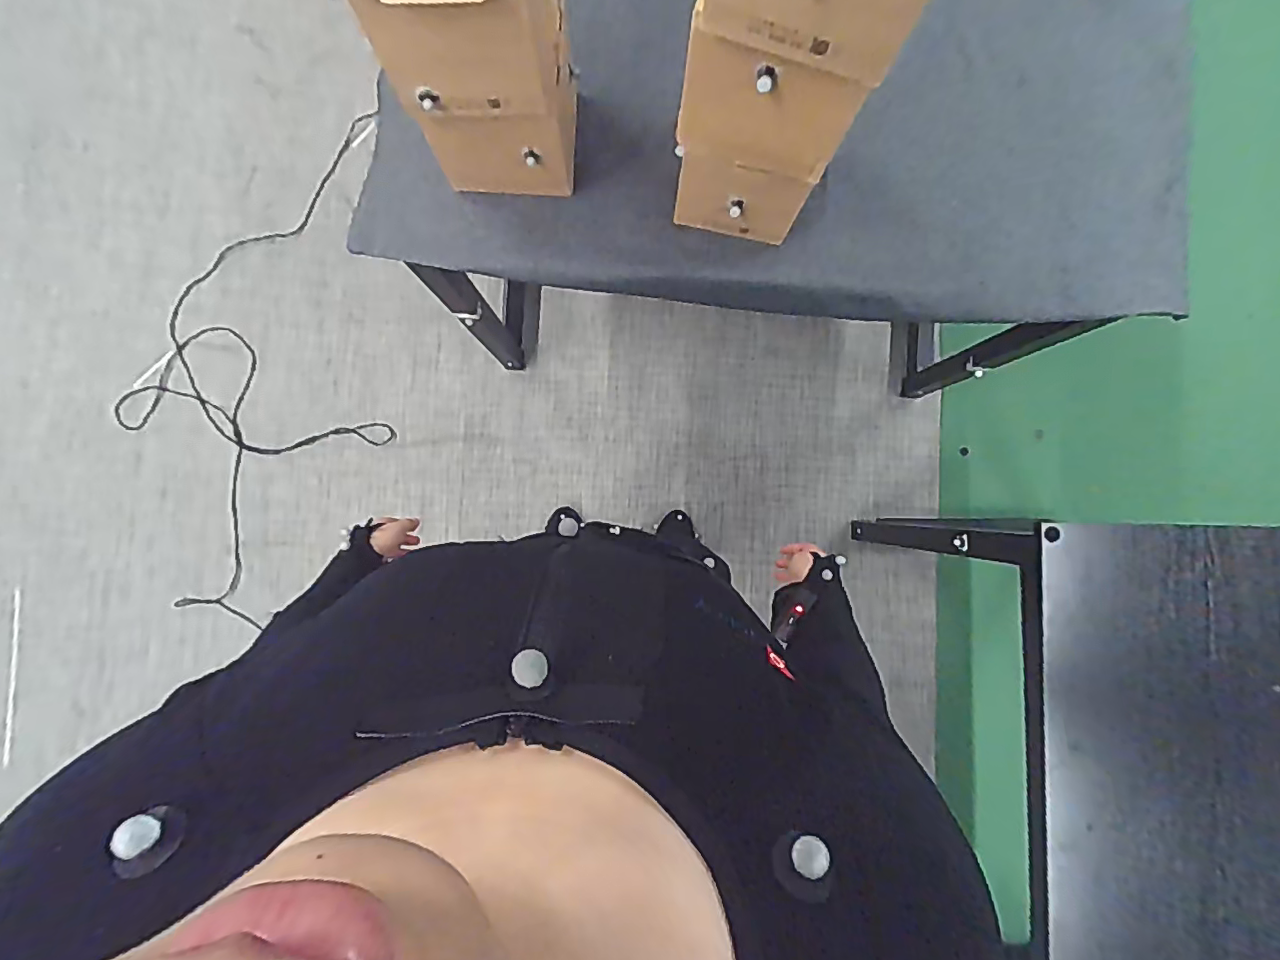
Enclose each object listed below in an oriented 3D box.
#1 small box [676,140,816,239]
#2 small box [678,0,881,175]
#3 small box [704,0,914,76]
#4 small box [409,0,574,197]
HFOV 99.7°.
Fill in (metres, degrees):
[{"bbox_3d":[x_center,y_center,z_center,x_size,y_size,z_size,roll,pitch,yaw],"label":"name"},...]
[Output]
[{"bbox_3d":[0.144,-0.451,0.719,0.168,0.176,0.179,12,87,1],"label":"small box"},{"bbox_3d":[0.148,-0.452,0.556,0.179,0.176,0.168,17,86,2],"label":"small box"},{"bbox_3d":[0.149,-0.449,0.390,0.168,0.176,0.179,18,86,1],"label":"small box"},{"bbox_3d":[-0.184,-0.504,0.722,0.179,0.176,0.168,1,85,1],"label":"small box"}]
